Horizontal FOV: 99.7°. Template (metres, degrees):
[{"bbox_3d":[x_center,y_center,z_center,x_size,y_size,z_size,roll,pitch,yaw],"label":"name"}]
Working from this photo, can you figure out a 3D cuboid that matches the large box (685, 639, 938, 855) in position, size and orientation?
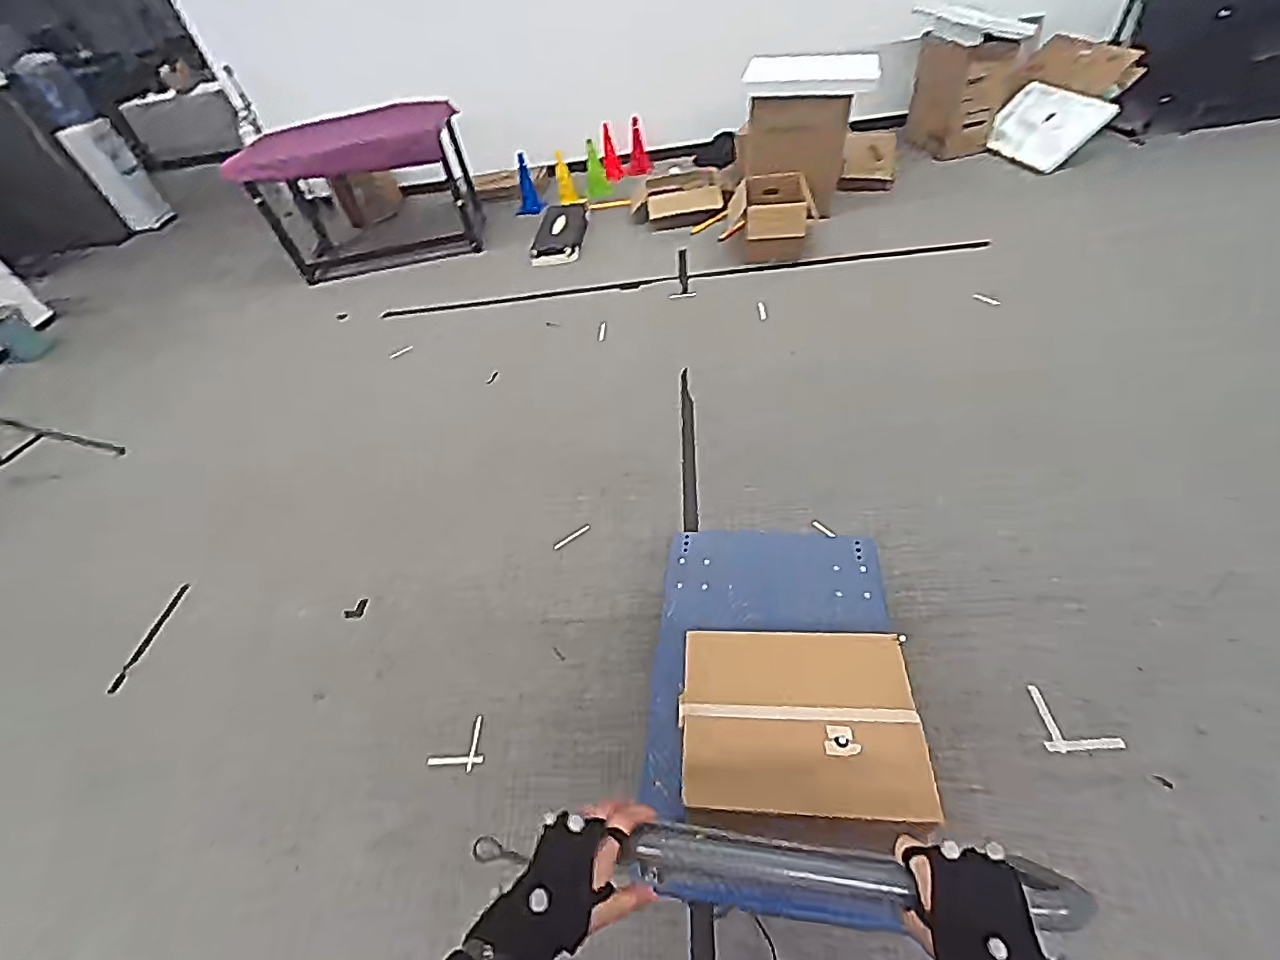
[{"bbox_3d":[0.296,0.530,1.076,0.408,0.320,0.320,-1,48,8],"label":"large box"}]
